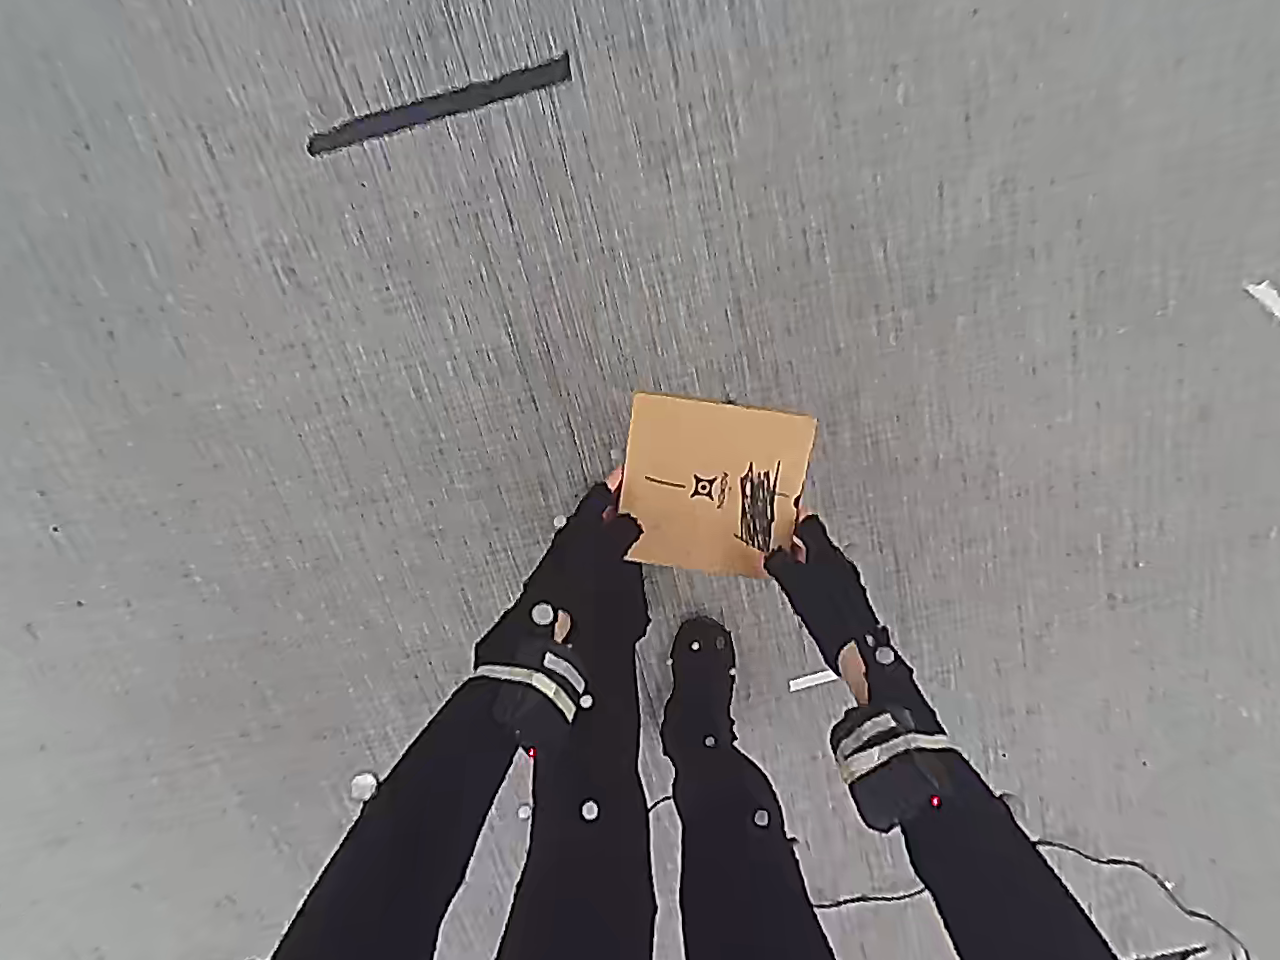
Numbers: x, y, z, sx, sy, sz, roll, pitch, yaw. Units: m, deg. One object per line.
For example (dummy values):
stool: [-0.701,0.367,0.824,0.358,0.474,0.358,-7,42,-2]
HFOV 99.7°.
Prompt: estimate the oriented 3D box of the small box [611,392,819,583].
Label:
small box: [0.069,-0.003,0.588,0.179,0.176,0.168,8,99,-1]
